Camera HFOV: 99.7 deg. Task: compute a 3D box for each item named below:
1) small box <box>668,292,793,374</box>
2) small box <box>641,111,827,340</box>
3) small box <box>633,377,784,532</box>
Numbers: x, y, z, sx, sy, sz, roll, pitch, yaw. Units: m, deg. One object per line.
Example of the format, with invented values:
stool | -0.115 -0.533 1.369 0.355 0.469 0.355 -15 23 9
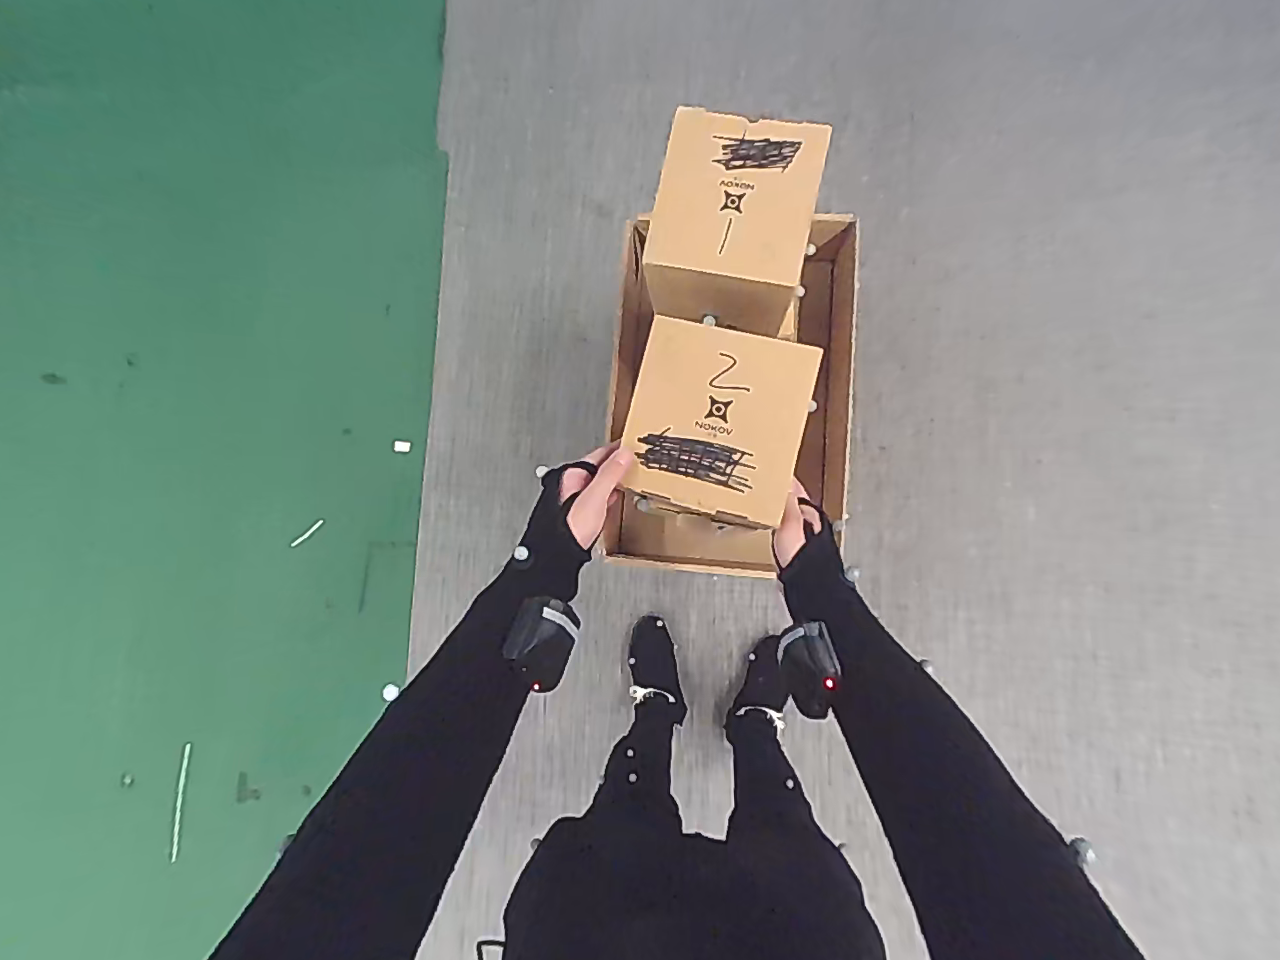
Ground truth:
small box | 0.132 -0.269 0.806 0.168 0.176 0.179 3 86 7
small box | 0.107 -0.289 0.645 0.168 0.176 0.179 13 87 8
small box | 0.098 -0.026 0.777 0.168 0.176 0.179 13 84 8
